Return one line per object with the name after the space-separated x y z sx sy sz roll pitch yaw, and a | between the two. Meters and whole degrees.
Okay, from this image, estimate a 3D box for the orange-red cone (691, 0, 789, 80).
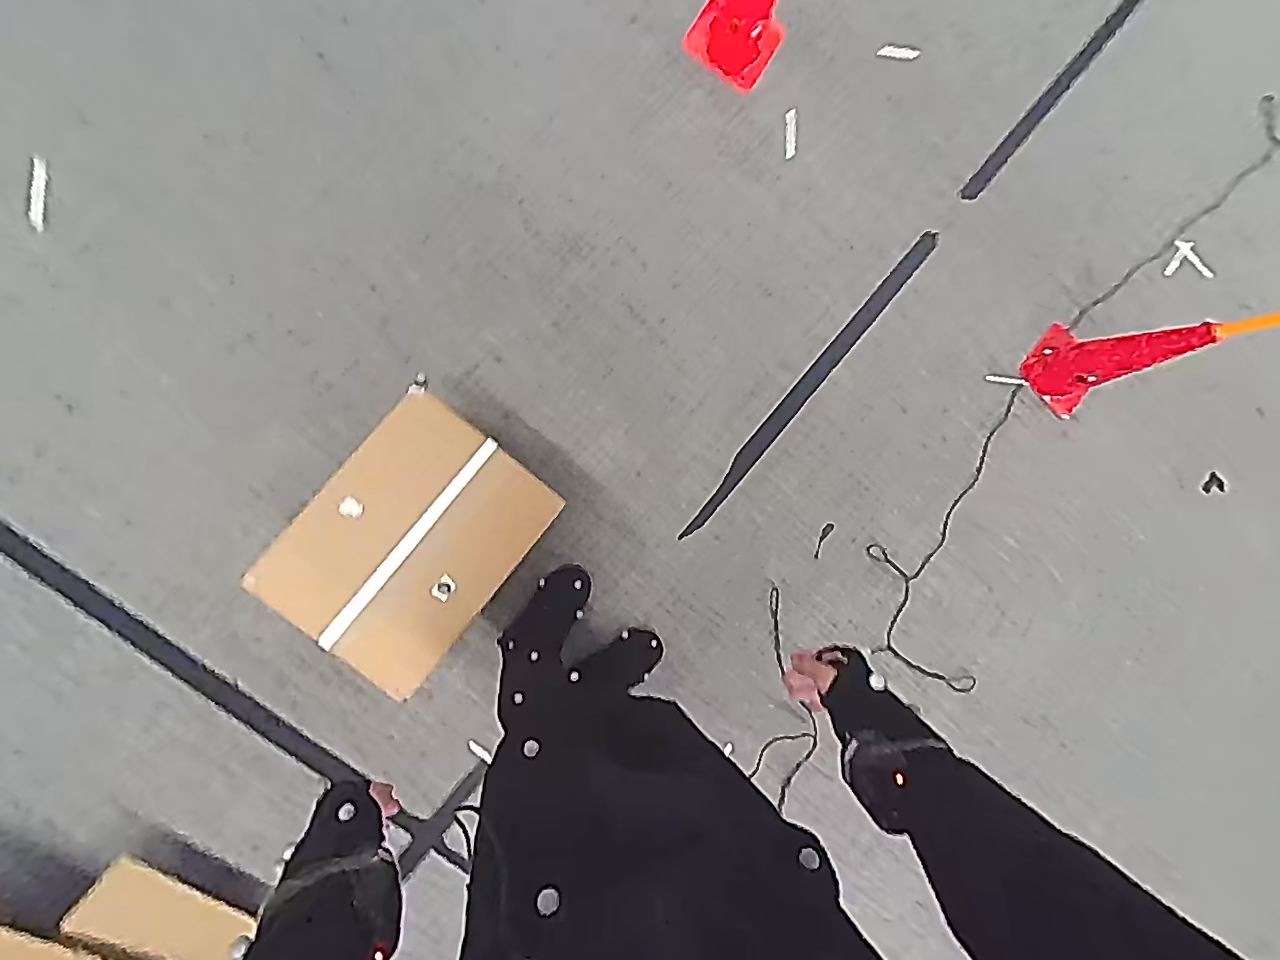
0.272 -1.081 1.120 0.199 0.360 0.198 33 83 -8 | orange-red cone
